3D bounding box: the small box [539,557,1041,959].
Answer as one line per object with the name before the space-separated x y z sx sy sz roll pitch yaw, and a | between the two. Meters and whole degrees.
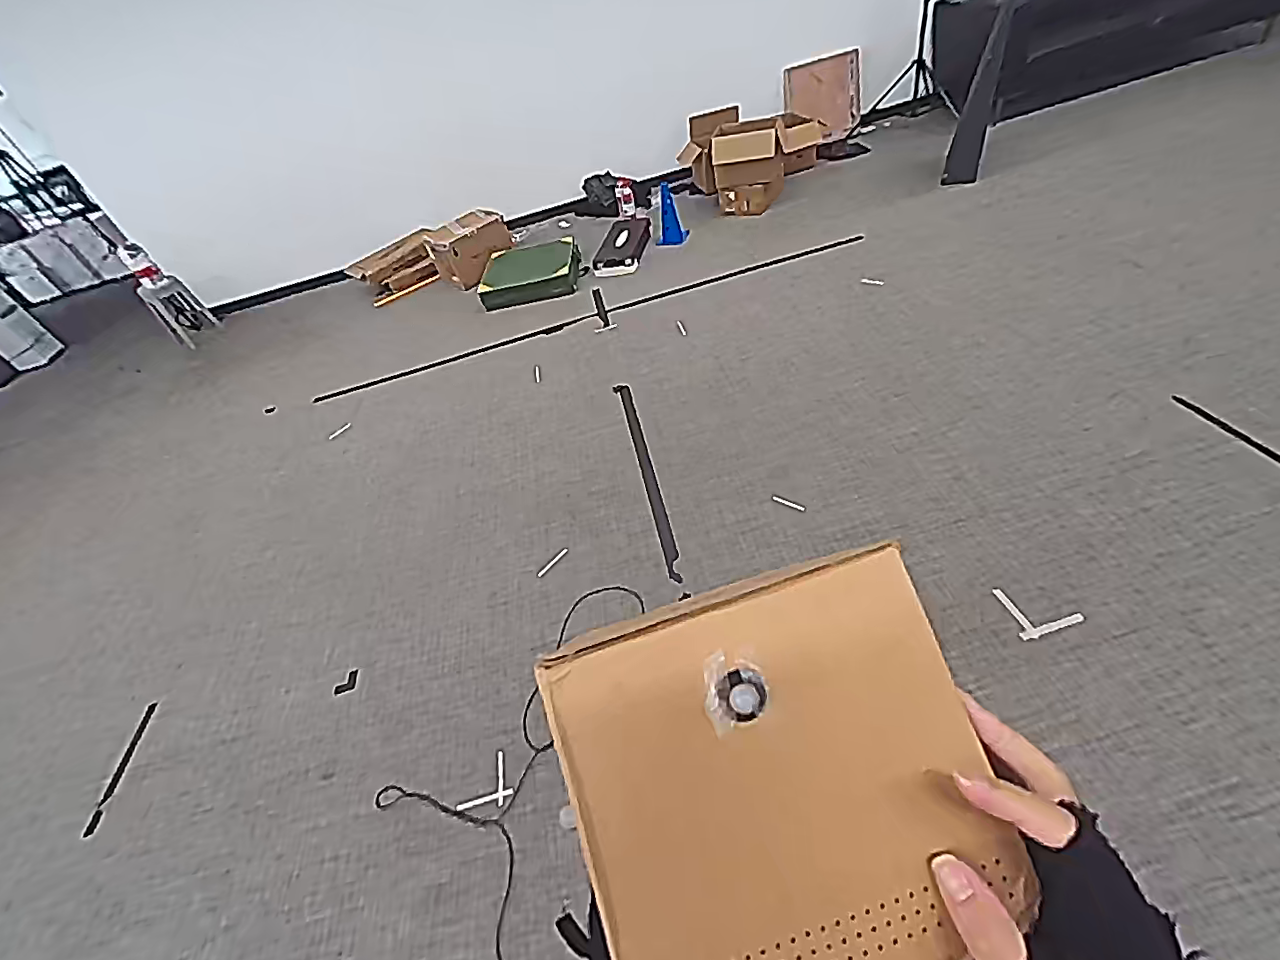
small box | 0.063 0.156 0.304 0.179 0.168 0.176 -18 78 -3
